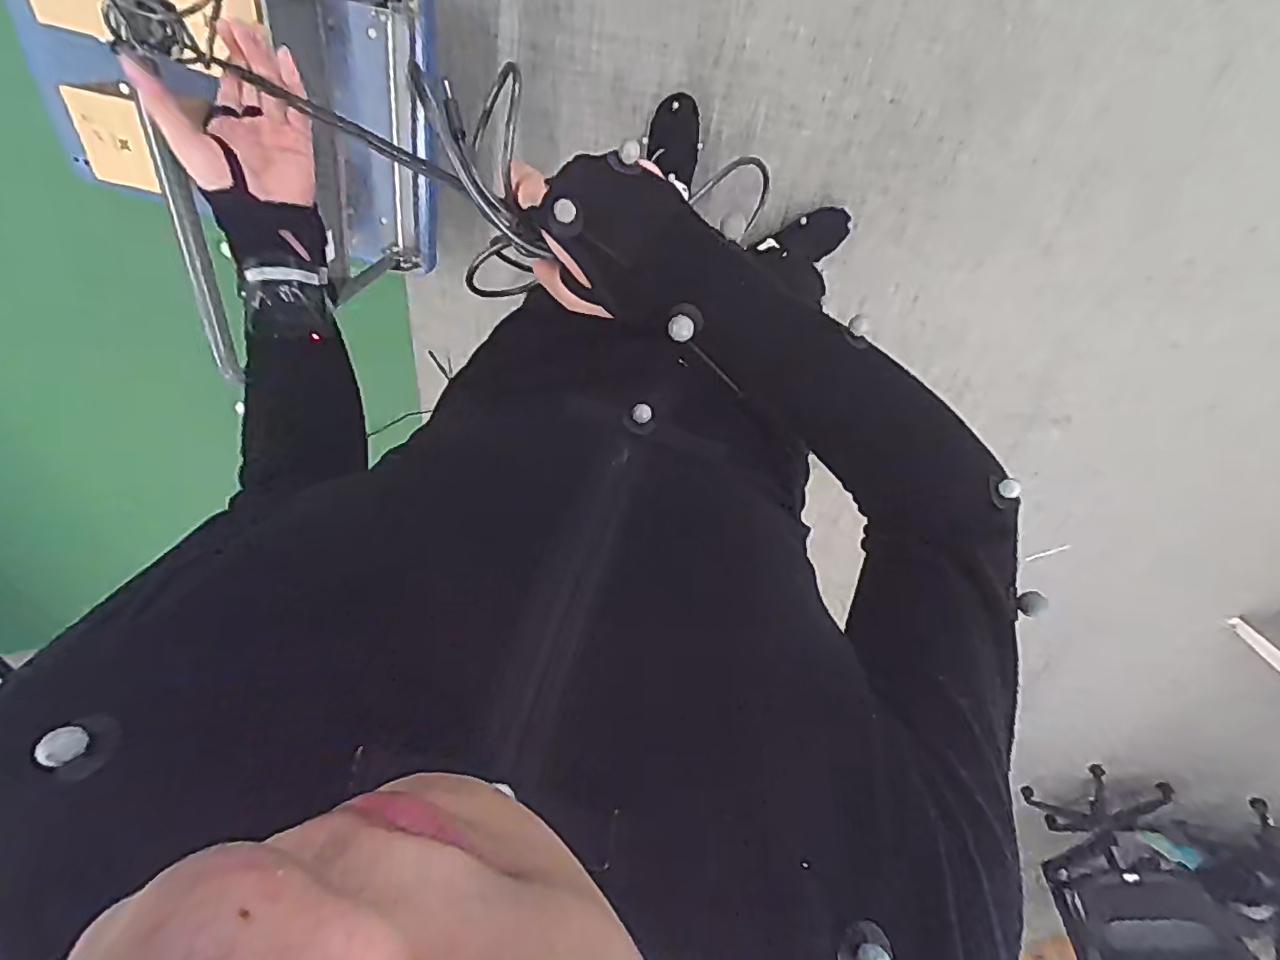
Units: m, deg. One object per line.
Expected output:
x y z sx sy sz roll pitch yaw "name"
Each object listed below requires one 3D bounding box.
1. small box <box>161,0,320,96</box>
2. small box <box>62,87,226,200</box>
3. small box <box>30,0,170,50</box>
-0.735 -0.840 1.003 0.179 0.176 0.168 16 129 -4 "small box"
-1.029 -0.719 1.149 0.179 0.176 0.168 13 128 -1 "small box"
-0.971 -0.908 0.987 0.179 0.176 0.168 13 130 -3 "small box"
